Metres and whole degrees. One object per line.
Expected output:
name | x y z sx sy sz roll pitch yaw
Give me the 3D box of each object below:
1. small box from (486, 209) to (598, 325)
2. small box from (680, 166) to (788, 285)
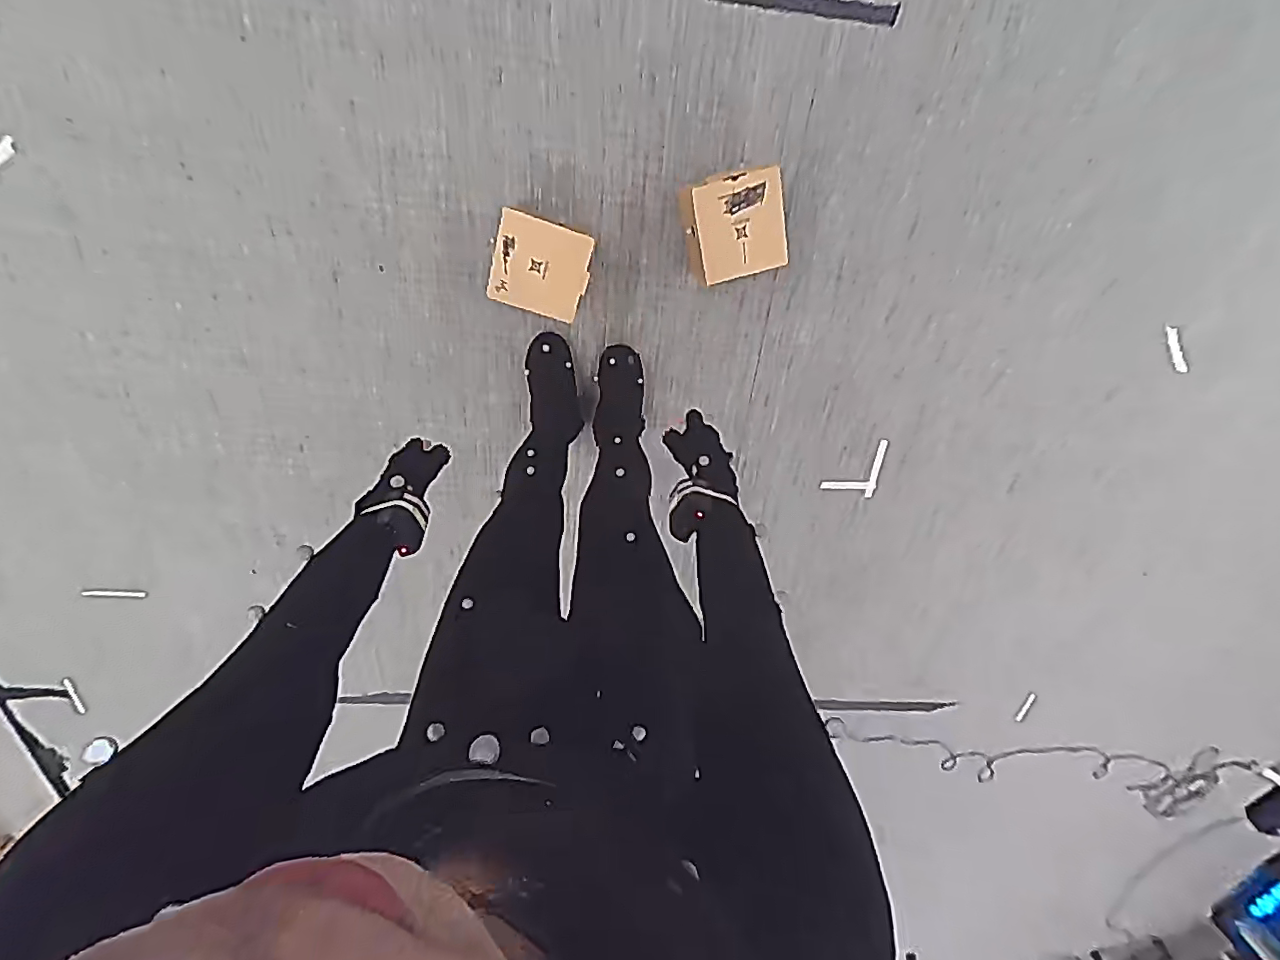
small box | -0.192 -0.431 1.081 0.179 0.176 0.168 15 115 -13
small box | 0.182 -0.505 1.076 0.168 0.176 0.179 -14 118 2
